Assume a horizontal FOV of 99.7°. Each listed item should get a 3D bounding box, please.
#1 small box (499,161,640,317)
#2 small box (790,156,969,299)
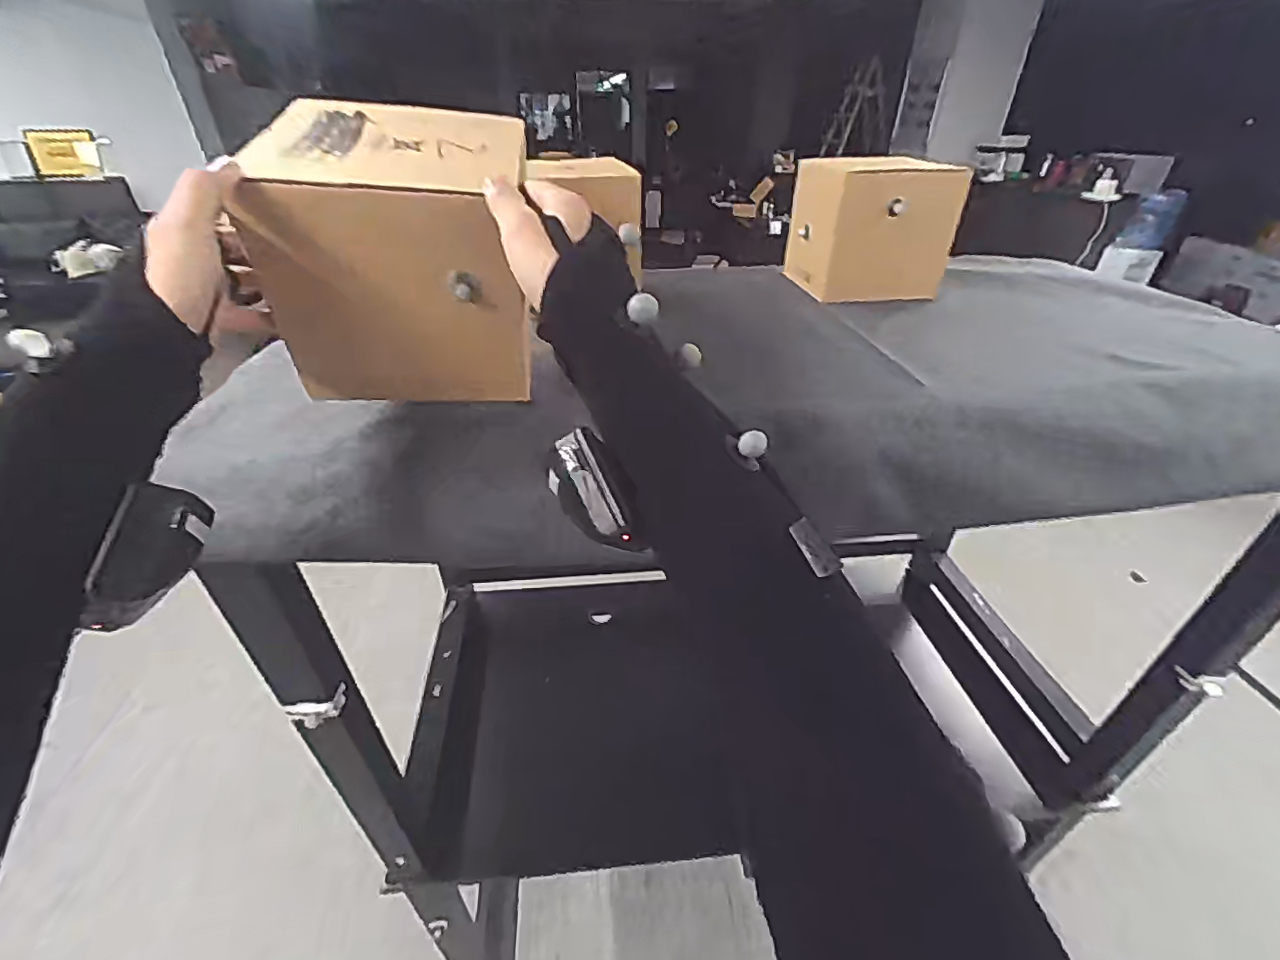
[{"bbox_3d":[-0.097,-0.331,0.738,0.168,0.176,0.179,-8,36,-10],"label":"small box"},{"bbox_3d":[0.331,-0.371,0.794,0.179,0.176,0.168,-3,35,-5],"label":"small box"}]
